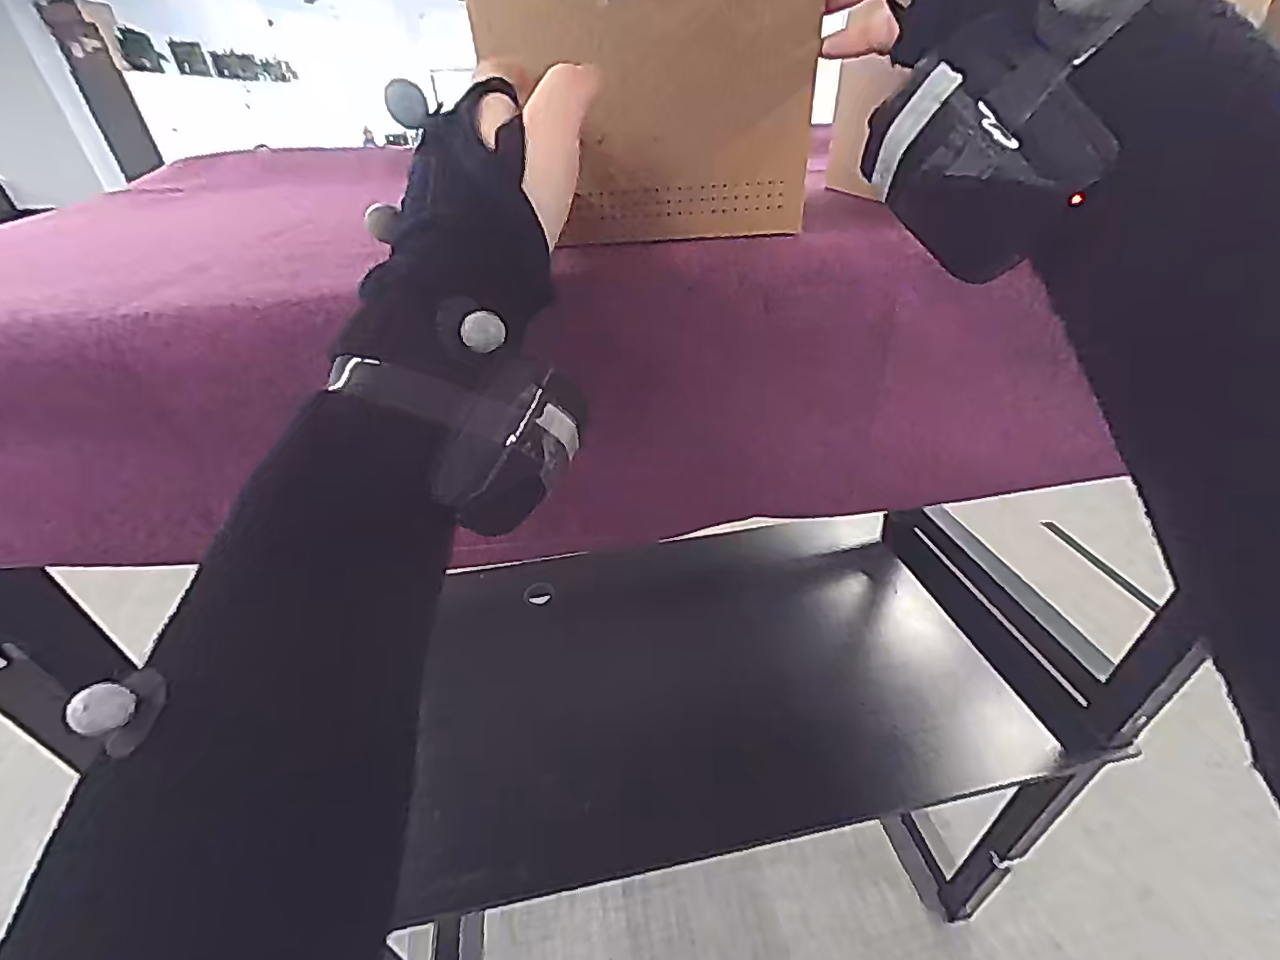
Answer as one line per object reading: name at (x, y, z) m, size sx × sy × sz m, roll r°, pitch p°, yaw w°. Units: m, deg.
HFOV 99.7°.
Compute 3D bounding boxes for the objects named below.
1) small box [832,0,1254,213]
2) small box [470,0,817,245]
small box at (0.251, -0.282, 0.362) m, size 0.168 × 0.176 × 0.179 m, roll -8°, pitch 34°, yaw -7°
small box at (0.002, -0.249, 0.331) m, size 0.179 × 0.176 × 0.168 m, roll -2°, pitch 36°, yaw 1°
